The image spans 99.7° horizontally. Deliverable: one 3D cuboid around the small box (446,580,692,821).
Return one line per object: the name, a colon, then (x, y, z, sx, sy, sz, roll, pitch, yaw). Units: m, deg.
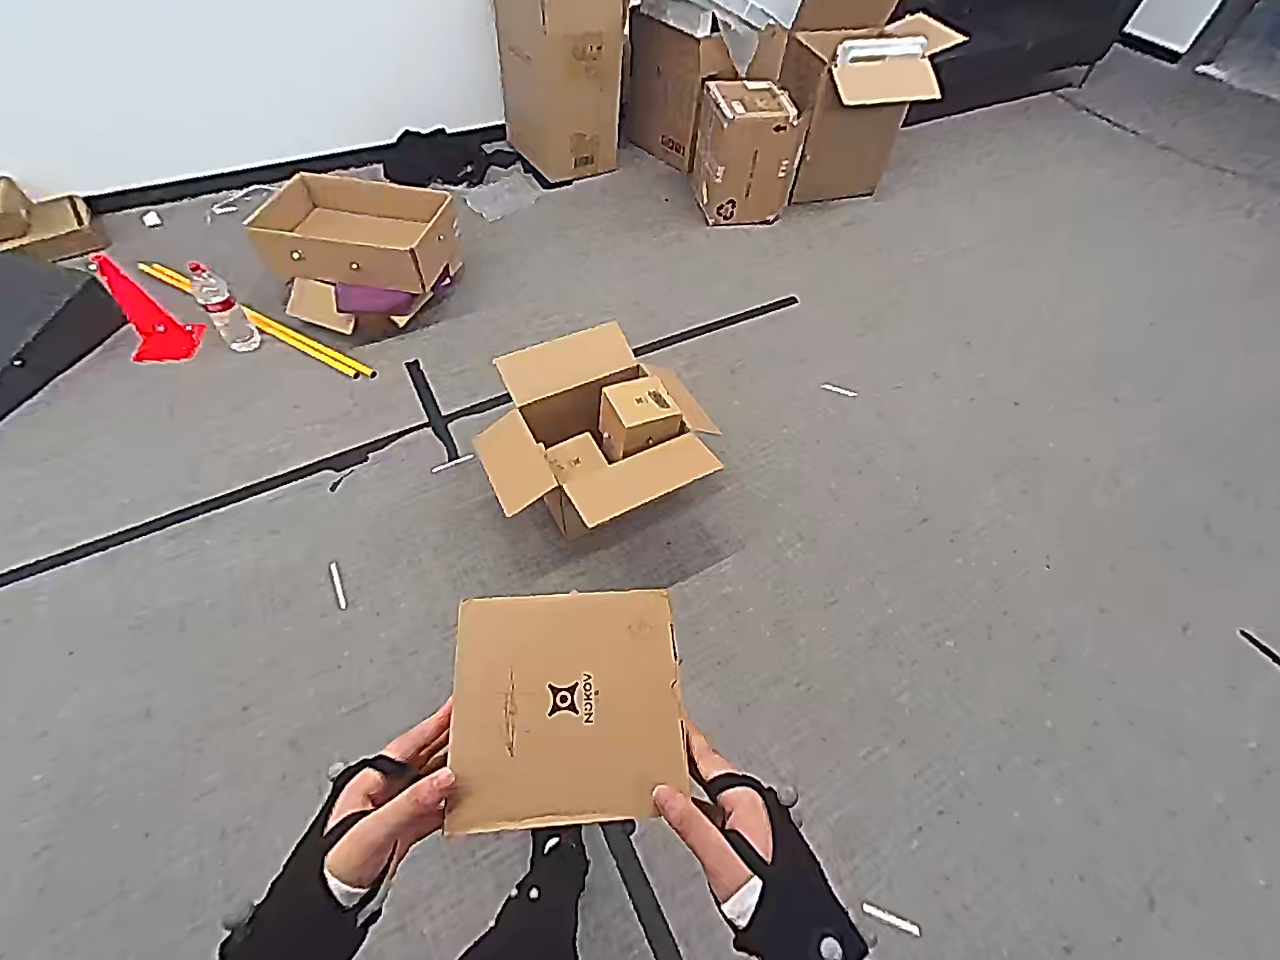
small box: (-0.060, 0.199, 0.489, 0.179, 0.176, 0.168, -4, 61, -5)
